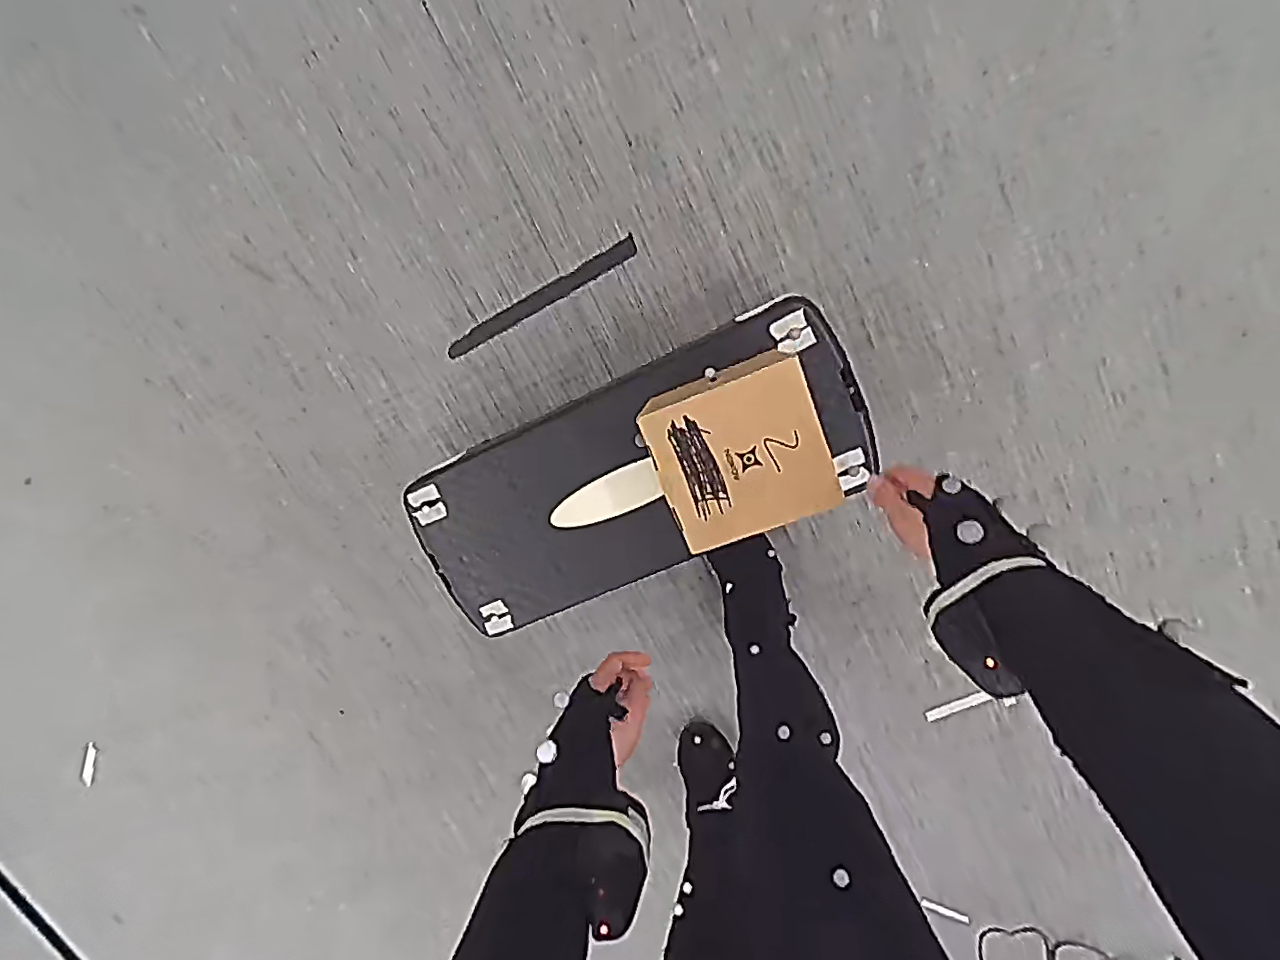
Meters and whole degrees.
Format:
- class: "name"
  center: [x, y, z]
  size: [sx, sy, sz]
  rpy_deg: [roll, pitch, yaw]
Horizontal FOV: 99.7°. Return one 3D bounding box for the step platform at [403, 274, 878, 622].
- class: "step platform"
  center: [-0.009, -0.037, 0.833]
  size: [0.684, 0.204, 0.286]
  rpy_deg: [-24, 101, 12]
